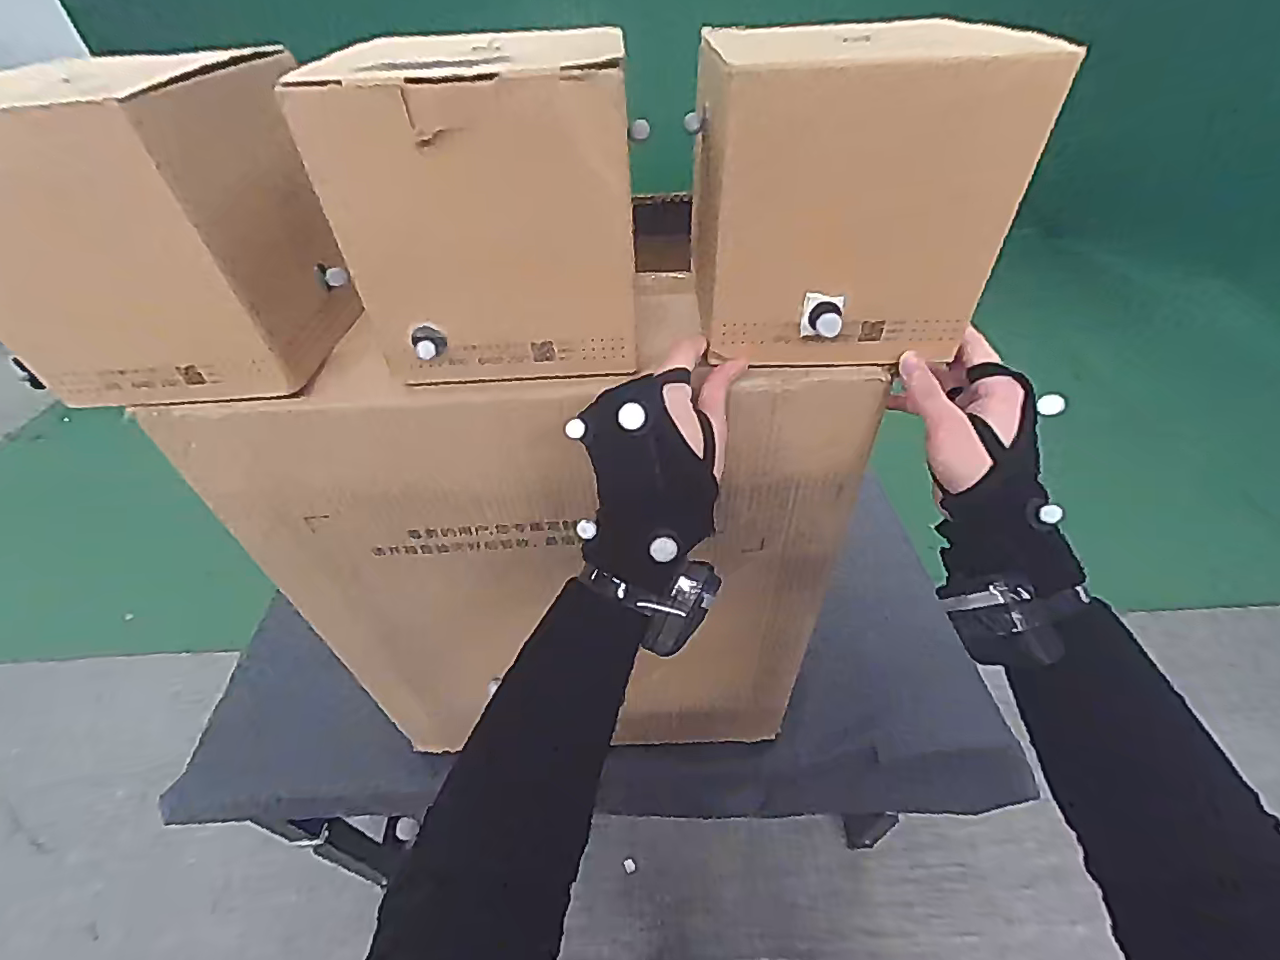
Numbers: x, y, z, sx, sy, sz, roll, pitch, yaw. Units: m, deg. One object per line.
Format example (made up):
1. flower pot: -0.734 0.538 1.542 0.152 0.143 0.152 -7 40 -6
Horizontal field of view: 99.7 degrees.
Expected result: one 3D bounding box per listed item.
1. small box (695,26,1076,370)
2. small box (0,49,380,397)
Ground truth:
1. small box: 0.128 -0.193 0.373 0.168 0.176 0.179 -2 46 1
2. small box: -0.309 -0.176 0.372 0.168 0.176 0.179 -3 44 4
